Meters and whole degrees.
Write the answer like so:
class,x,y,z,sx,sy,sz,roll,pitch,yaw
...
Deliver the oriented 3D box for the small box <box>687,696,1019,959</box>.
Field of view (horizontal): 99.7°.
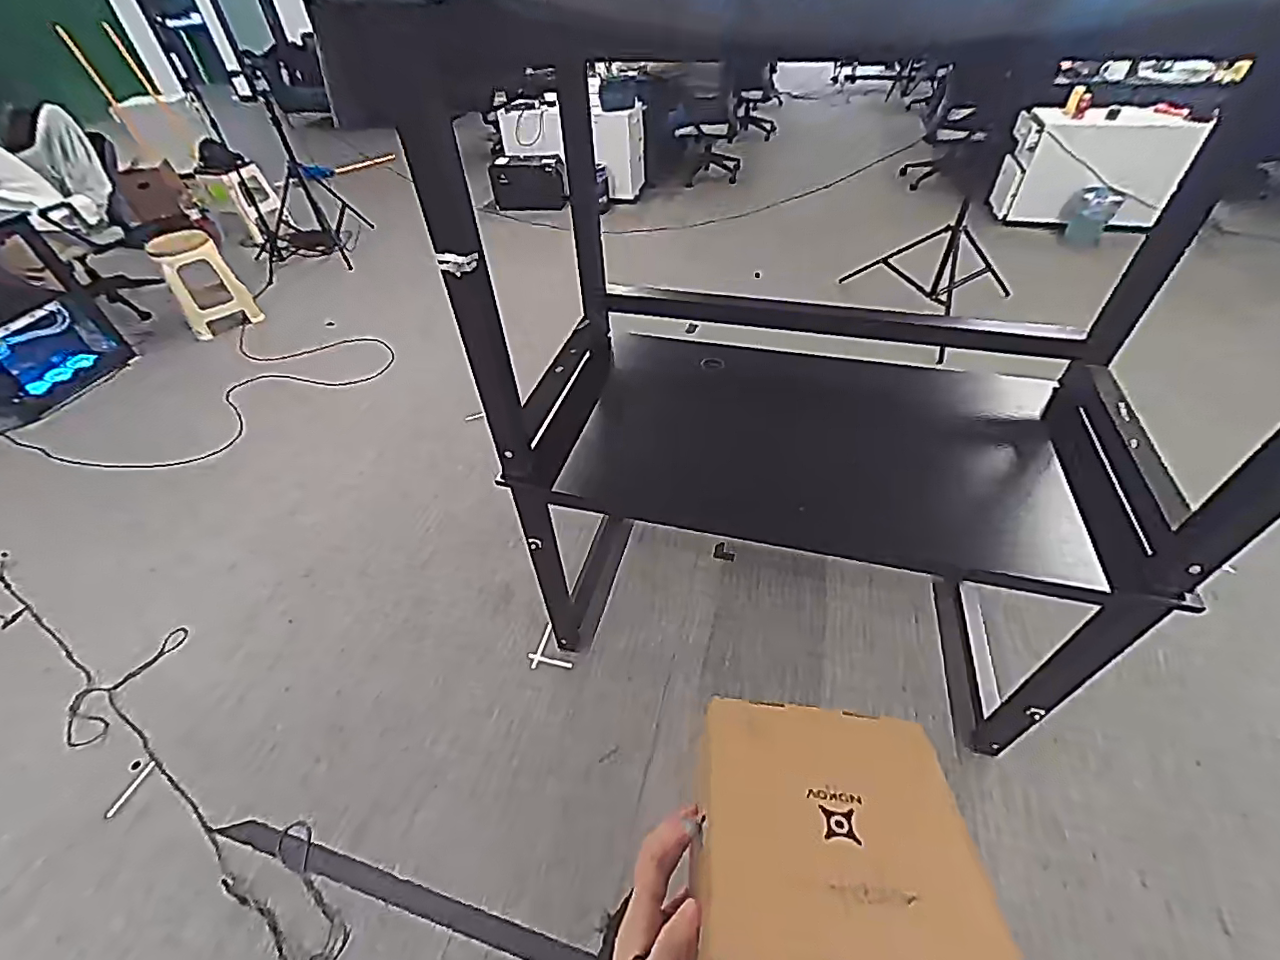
class,x,y,z,sx,sy,sz,roll,pitch,yaw
small box,0.122,0.289,0.382,0.168,0.176,0.179,5,27,5
